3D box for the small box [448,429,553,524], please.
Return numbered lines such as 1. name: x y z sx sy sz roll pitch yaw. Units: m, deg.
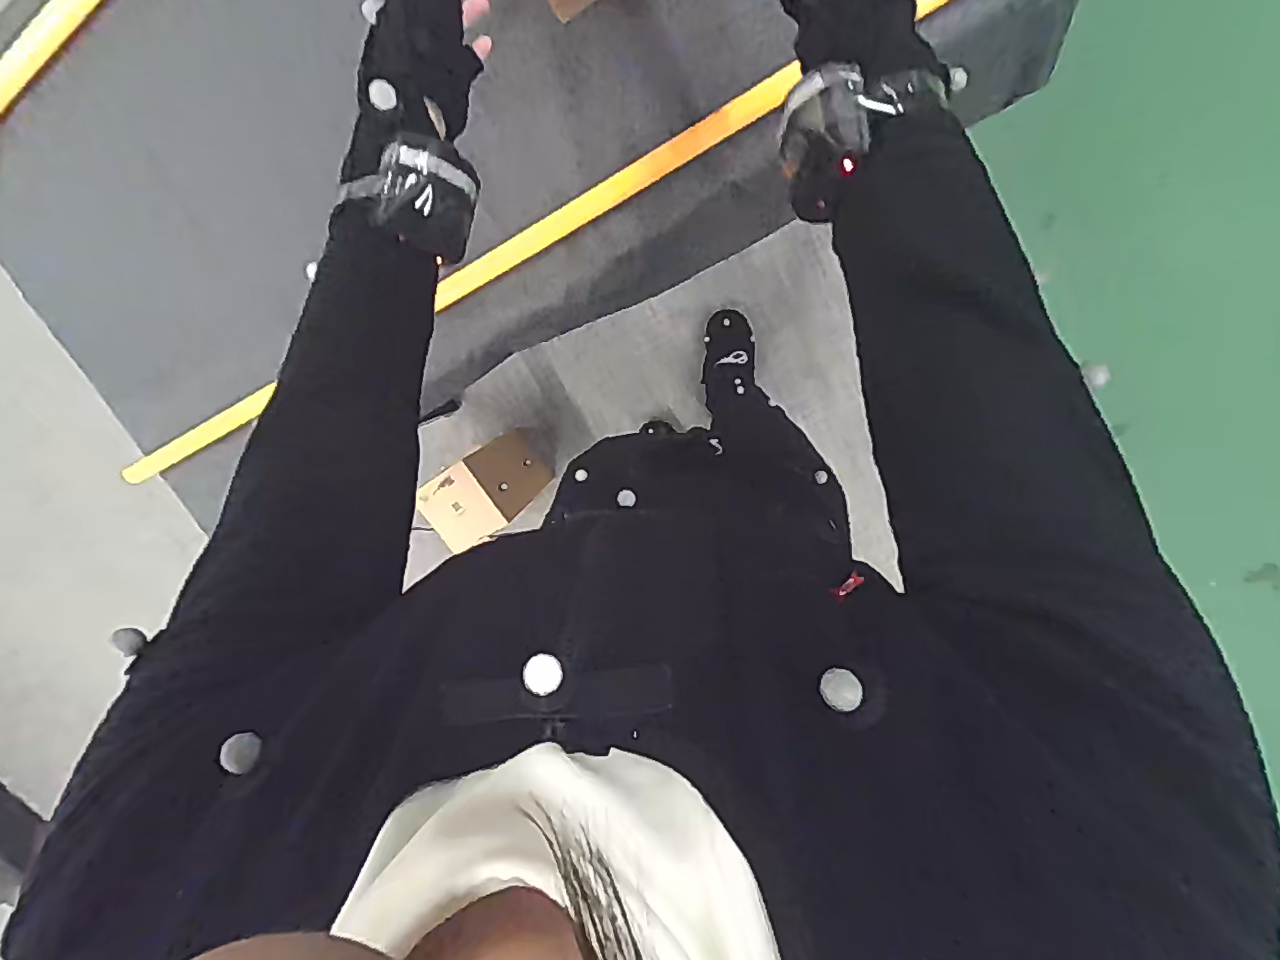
1. small box: -0.362 -0.018 1.432 0.168 0.176 0.179 -33 100 18
